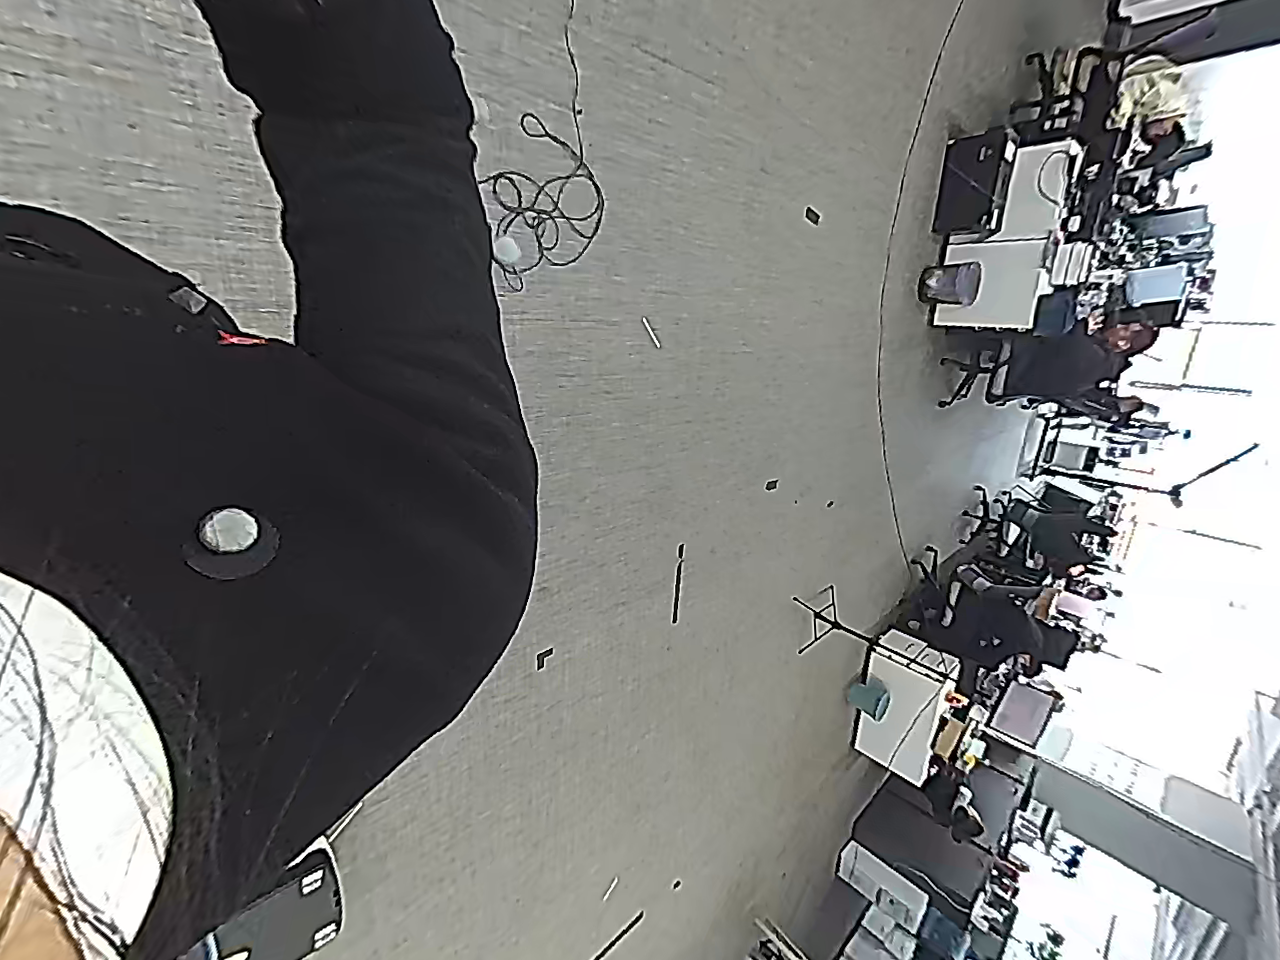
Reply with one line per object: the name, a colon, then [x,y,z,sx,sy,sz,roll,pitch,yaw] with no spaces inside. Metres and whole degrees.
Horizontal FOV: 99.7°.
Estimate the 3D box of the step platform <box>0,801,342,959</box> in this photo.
step platform: [-1.104,1.109,1.293,0.684,0.204,0.286,-15,114,-40]
